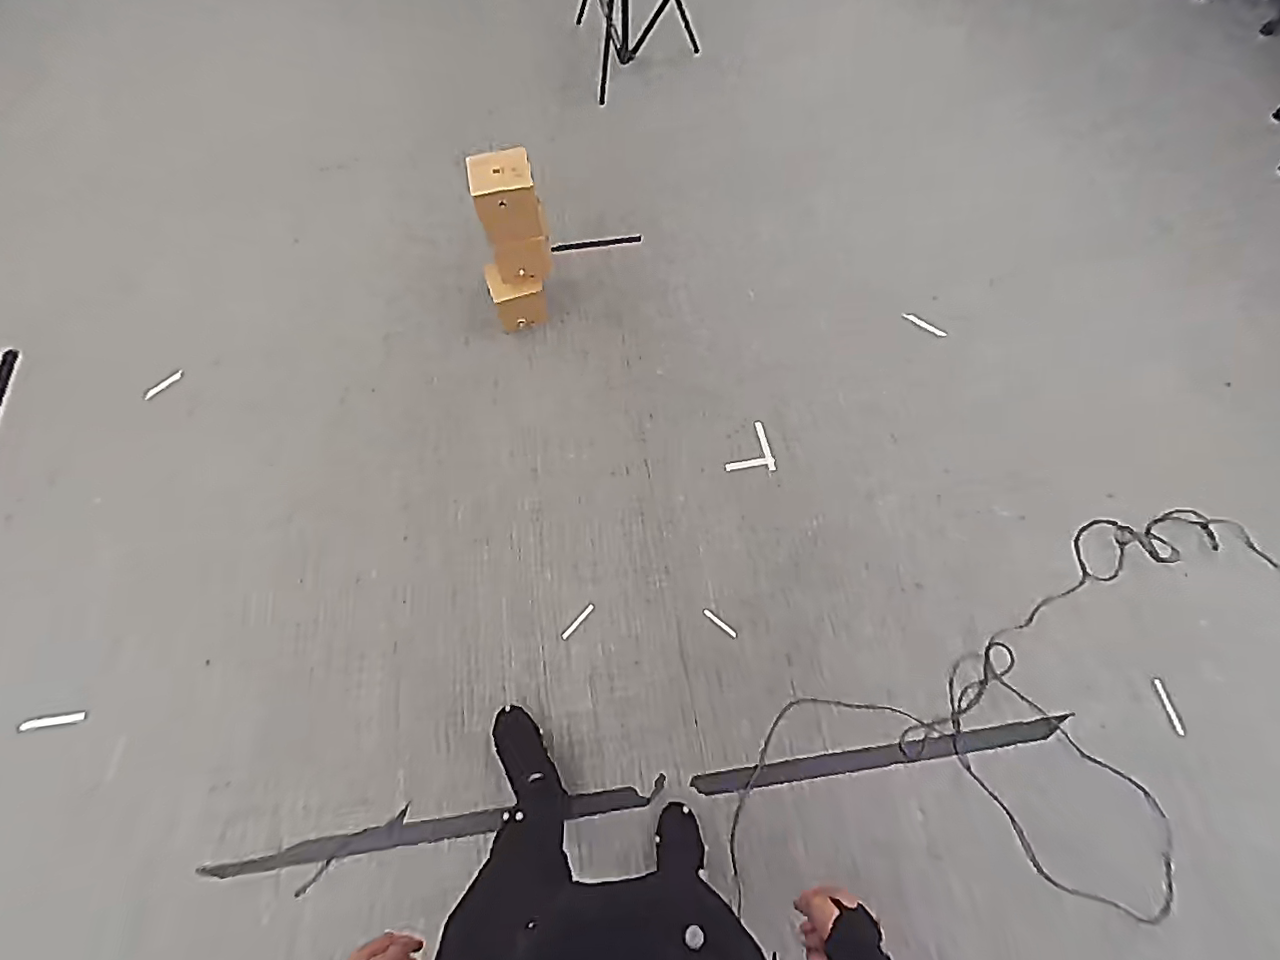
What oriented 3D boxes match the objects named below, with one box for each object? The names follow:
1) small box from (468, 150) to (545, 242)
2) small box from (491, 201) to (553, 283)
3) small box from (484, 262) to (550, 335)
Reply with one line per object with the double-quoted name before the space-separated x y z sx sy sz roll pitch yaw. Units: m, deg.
"small box" -0.387 -0.821 1.576 0.179 0.176 0.168 -12 67 -5
"small box" -0.373 -0.758 1.728 0.168 0.176 0.179 -5 67 -2
"small box" -0.417 -0.632 1.851 0.168 0.176 0.179 -18 68 -8
